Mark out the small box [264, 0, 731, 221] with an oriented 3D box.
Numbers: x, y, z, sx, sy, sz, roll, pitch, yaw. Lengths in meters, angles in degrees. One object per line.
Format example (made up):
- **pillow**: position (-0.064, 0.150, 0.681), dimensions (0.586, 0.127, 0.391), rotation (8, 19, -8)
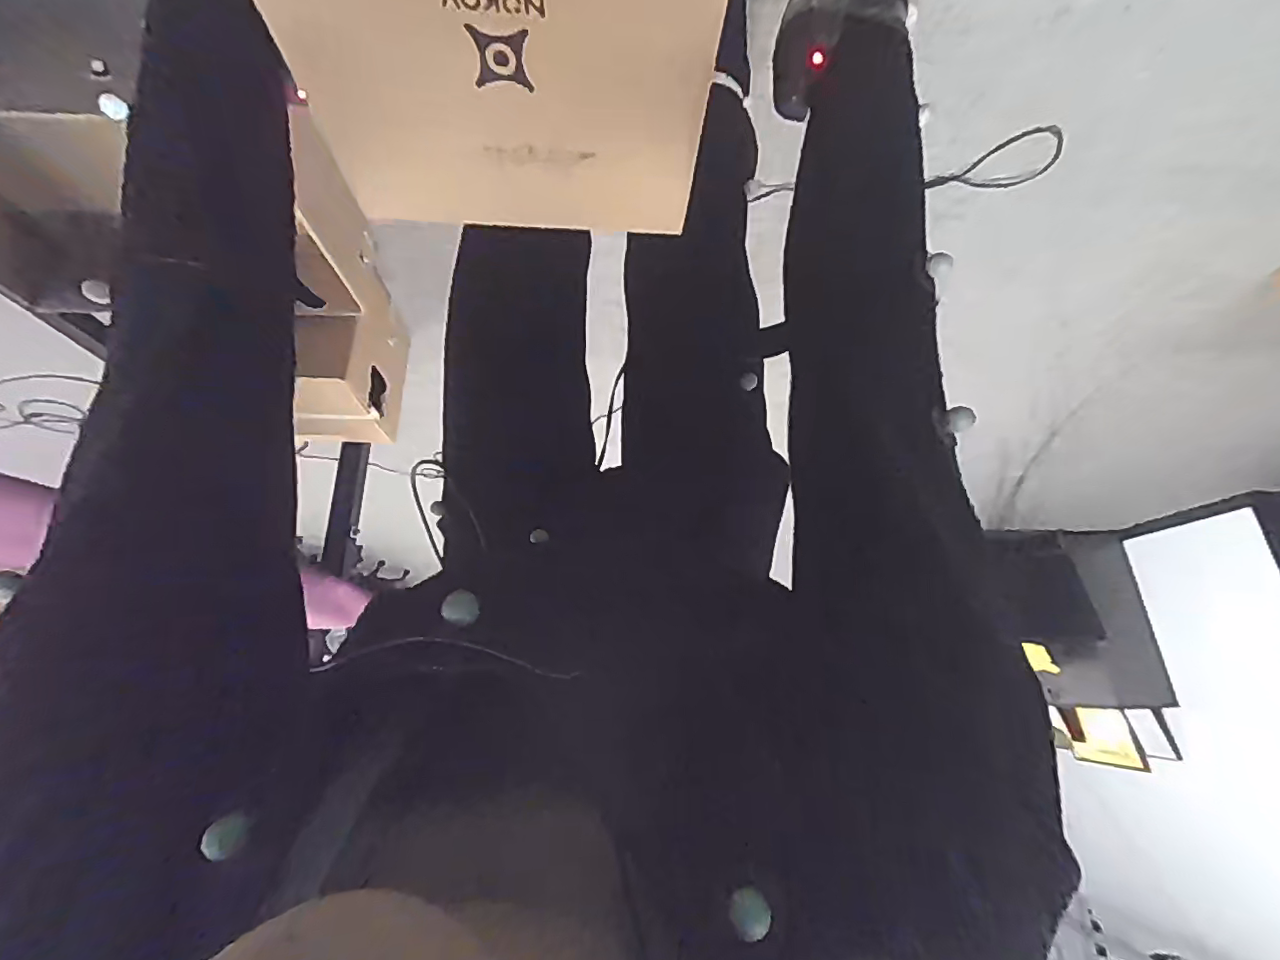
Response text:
- **small box**: position (-0.052, -0.243, 0.223), dimensions (0.168, 0.176, 0.179), rotation (2, 161, -5)
